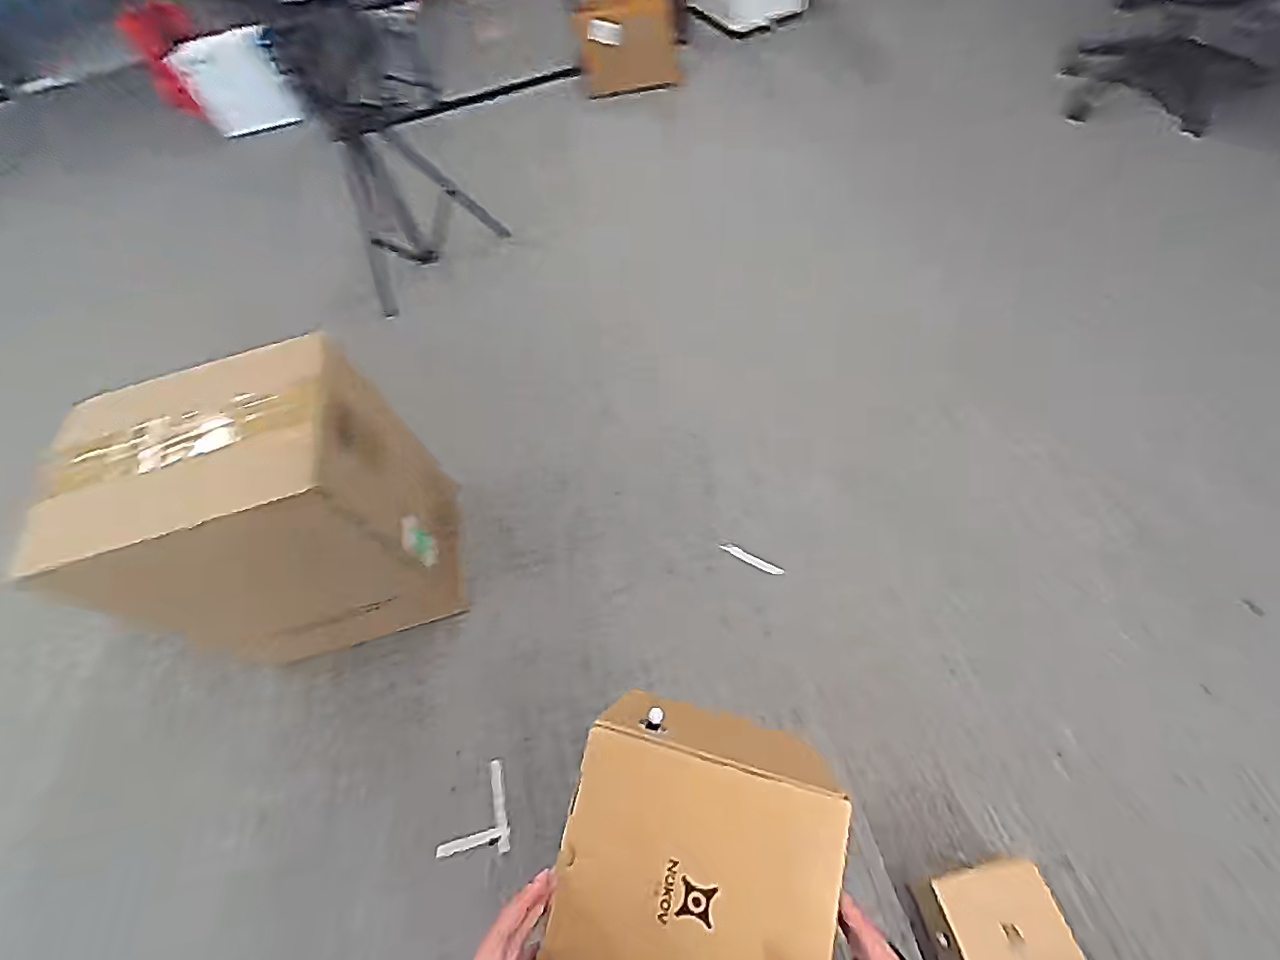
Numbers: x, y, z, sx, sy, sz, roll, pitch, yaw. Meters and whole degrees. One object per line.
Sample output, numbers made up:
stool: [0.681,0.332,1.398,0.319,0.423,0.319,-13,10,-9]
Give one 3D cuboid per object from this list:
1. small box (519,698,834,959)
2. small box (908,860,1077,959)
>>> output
small box: [0.033,0.276,0.413,0.179,0.176,0.168,10,77,12]
small box: [0.566,0.738,0.877,0.168,0.176,0.179,-15,55,1]
